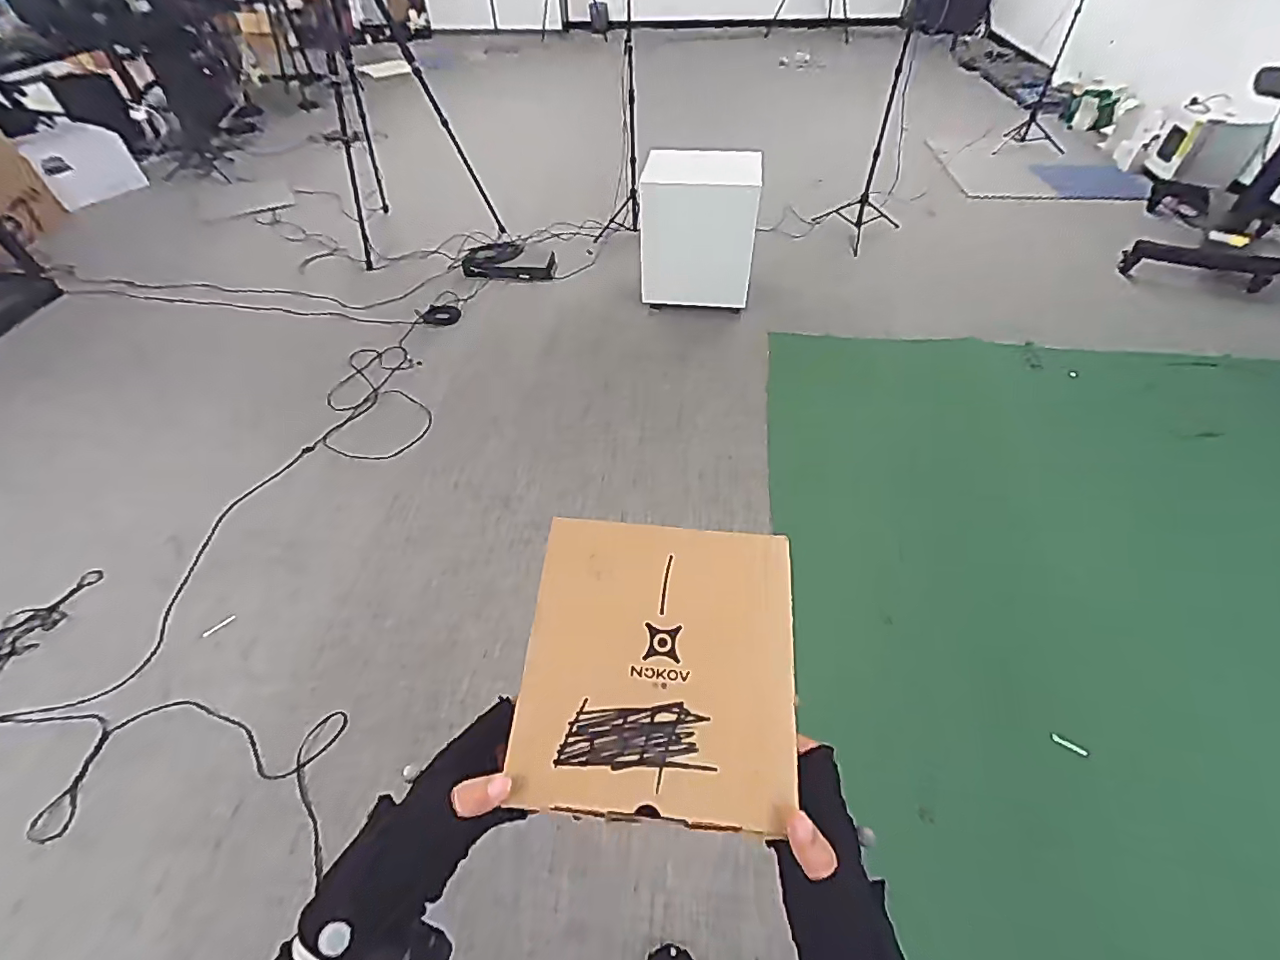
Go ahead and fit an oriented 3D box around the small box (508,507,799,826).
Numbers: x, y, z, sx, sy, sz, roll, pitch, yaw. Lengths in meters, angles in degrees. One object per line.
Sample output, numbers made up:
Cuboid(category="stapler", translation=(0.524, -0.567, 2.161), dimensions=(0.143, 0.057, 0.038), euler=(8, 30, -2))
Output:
Cuboid(category="small box", translation=(0.016, 0.139, 0.404), dimensions=(0.168, 0.176, 0.179), euler=(5, 62, 3))
